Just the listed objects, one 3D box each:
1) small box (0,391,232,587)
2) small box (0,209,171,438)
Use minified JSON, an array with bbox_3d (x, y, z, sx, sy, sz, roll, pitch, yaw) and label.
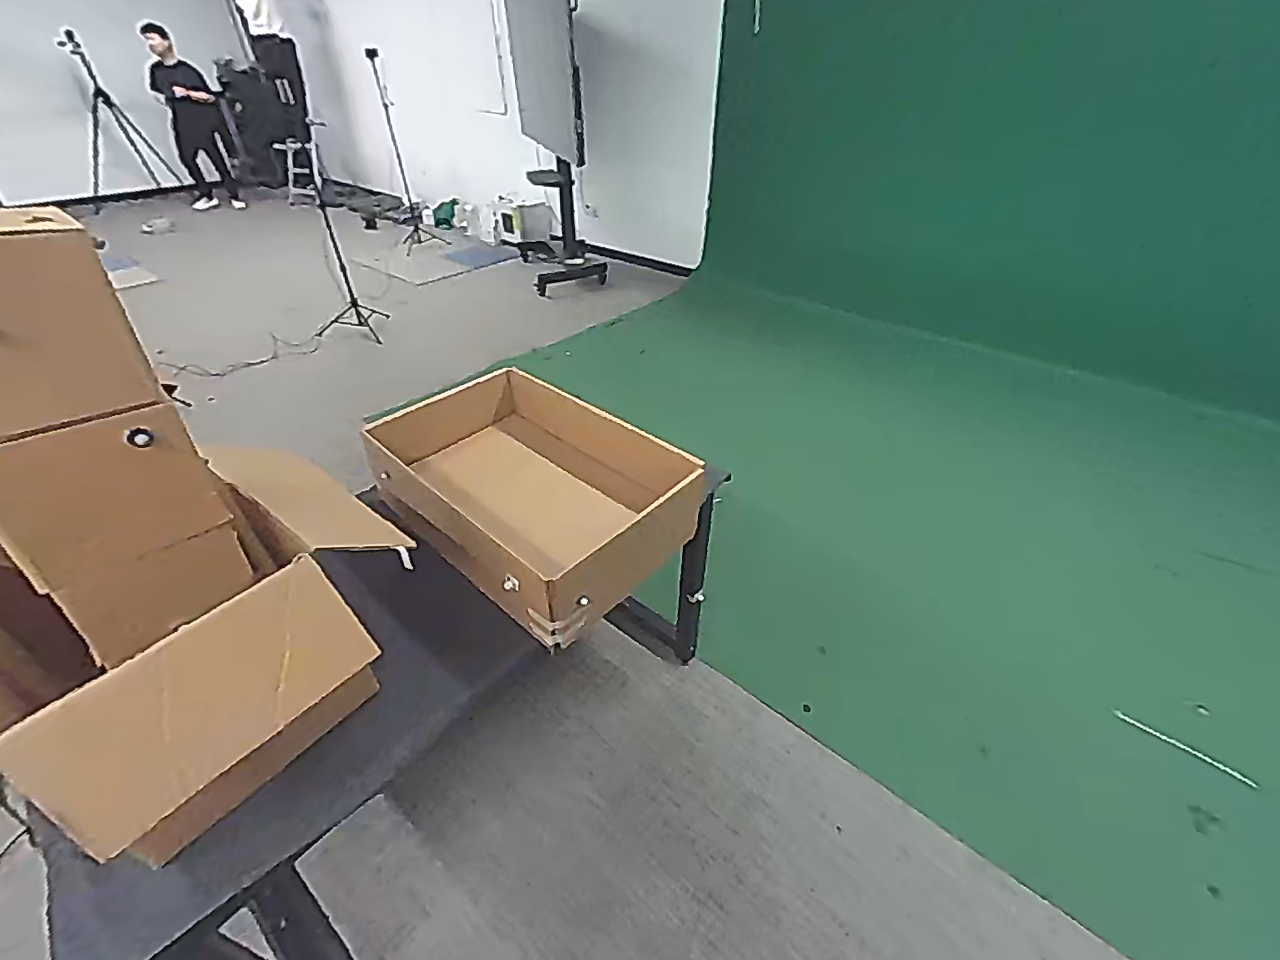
[{"bbox_3d":[-0.609,-0.013,0.604,0.168,0.176,0.179,27,40,32],"label":"small box"},{"bbox_3d":[-0.606,-0.150,0.515,0.168,0.176,0.179,28,41,33],"label":"small box"}]
